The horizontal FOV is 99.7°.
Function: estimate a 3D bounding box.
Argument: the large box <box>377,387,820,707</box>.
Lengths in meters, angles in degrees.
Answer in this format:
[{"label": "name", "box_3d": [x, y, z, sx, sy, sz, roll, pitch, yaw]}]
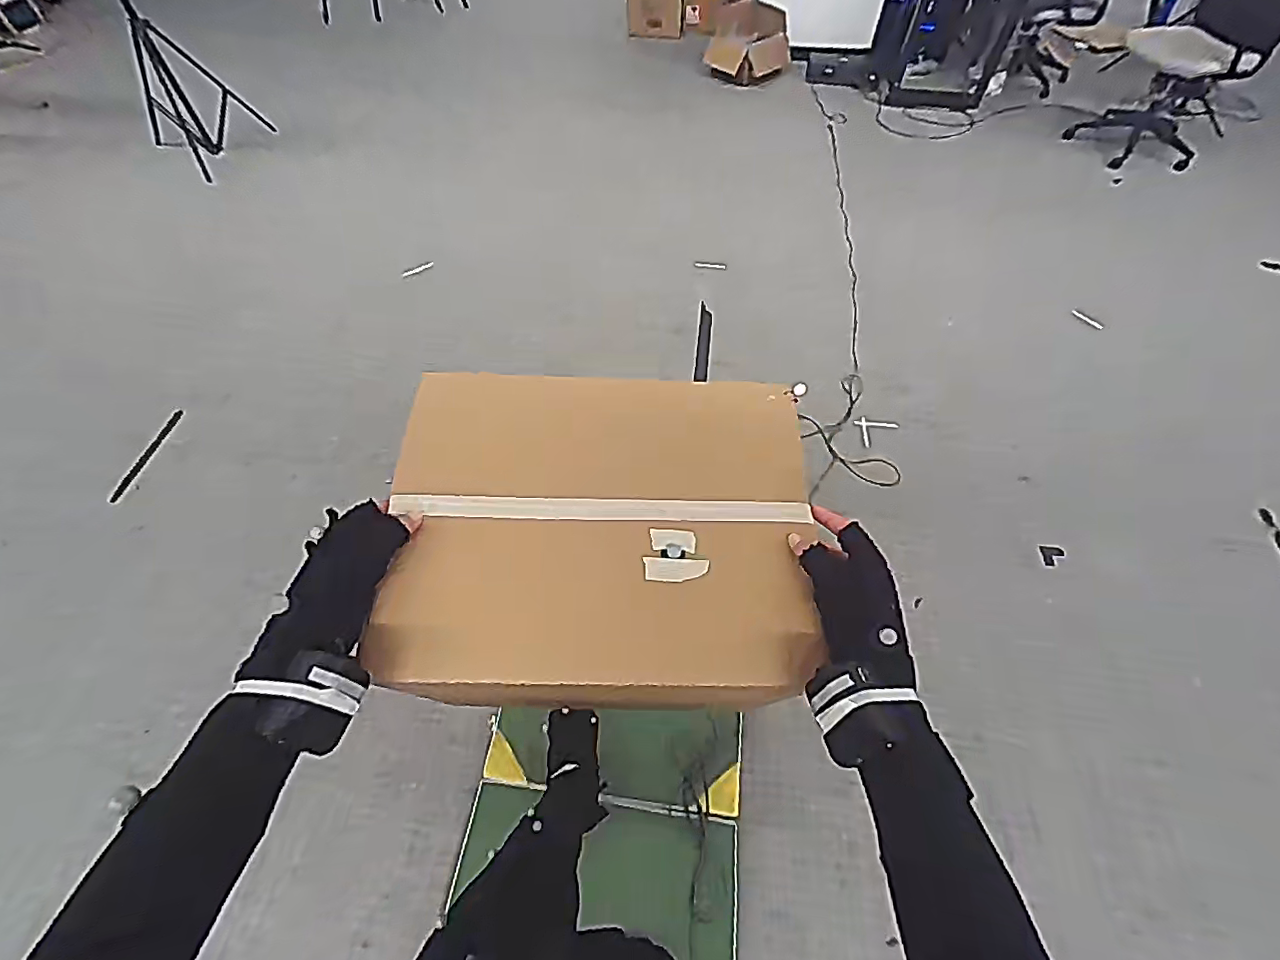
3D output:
[{"label": "large box", "box_3d": [-0.044, 0.103, 0.677, 0.408, 0.320, 0.320, 2, 64, -3]}]
